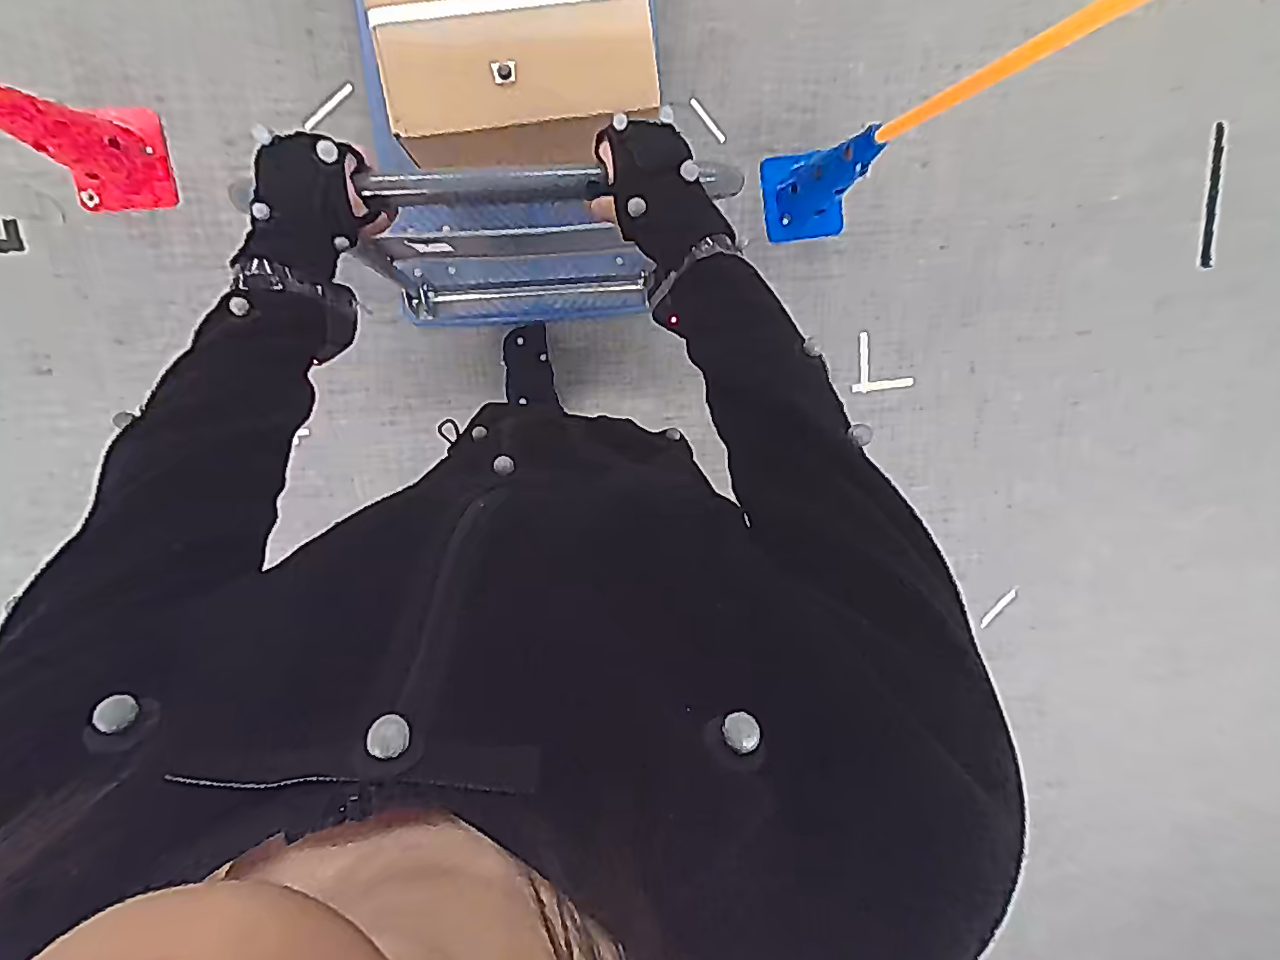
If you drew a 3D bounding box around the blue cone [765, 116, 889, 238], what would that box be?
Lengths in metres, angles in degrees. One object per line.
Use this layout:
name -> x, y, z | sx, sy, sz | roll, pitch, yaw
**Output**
blue cone -> 0.428, -0.679, 1.185 | 0.193, 0.380, 0.192 | -9, 101, -5
